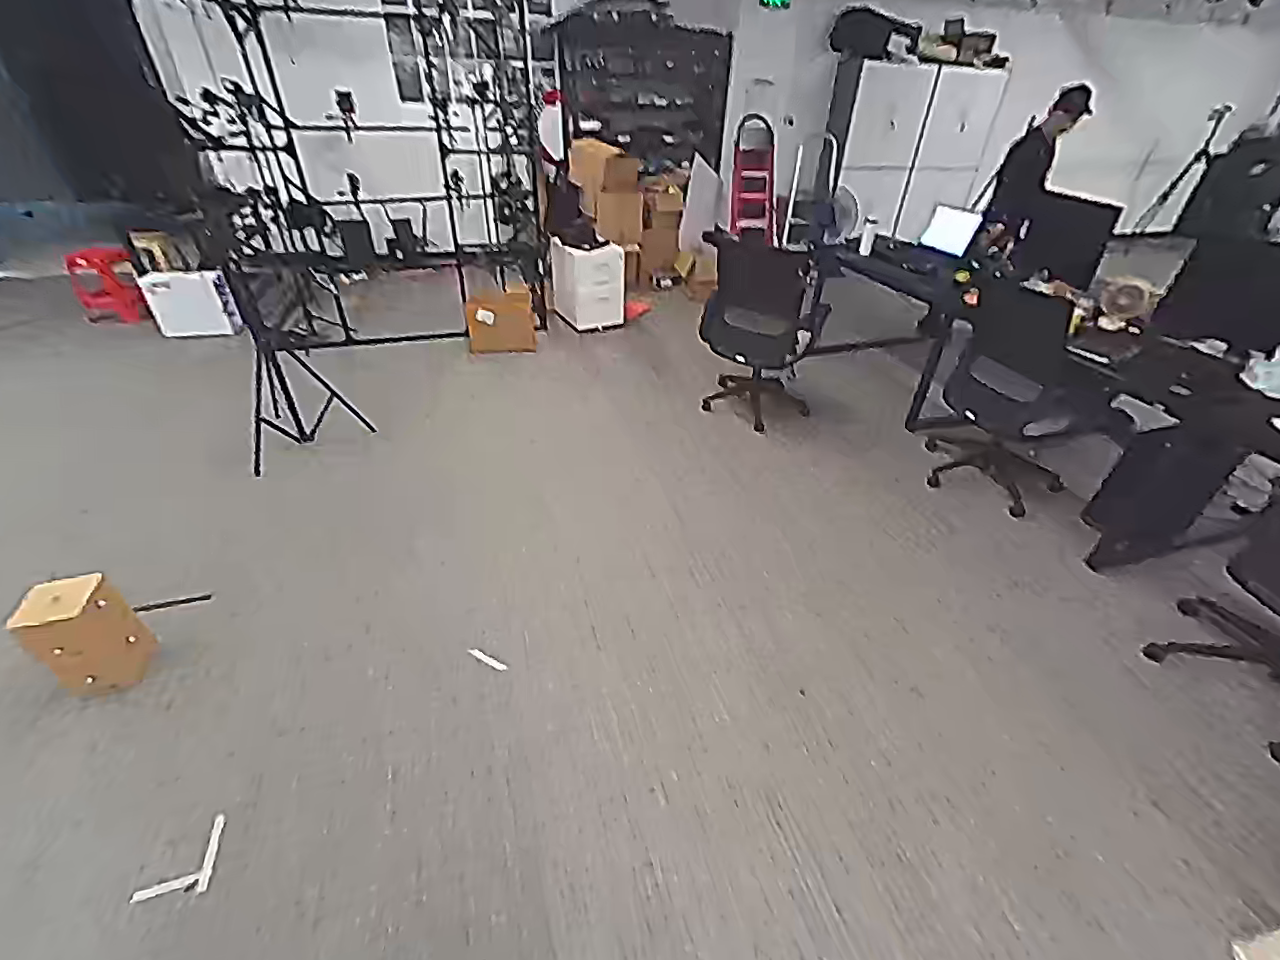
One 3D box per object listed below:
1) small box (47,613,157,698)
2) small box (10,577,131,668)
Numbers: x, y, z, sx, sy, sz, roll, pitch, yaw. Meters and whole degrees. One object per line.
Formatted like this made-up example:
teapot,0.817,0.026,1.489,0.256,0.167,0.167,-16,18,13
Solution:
small box,-1.662,0.551,1.685,0.168,0.176,0.179,-11,37,-18
small box,-1.658,0.417,1.592,0.168,0.176,0.179,-11,38,-16
